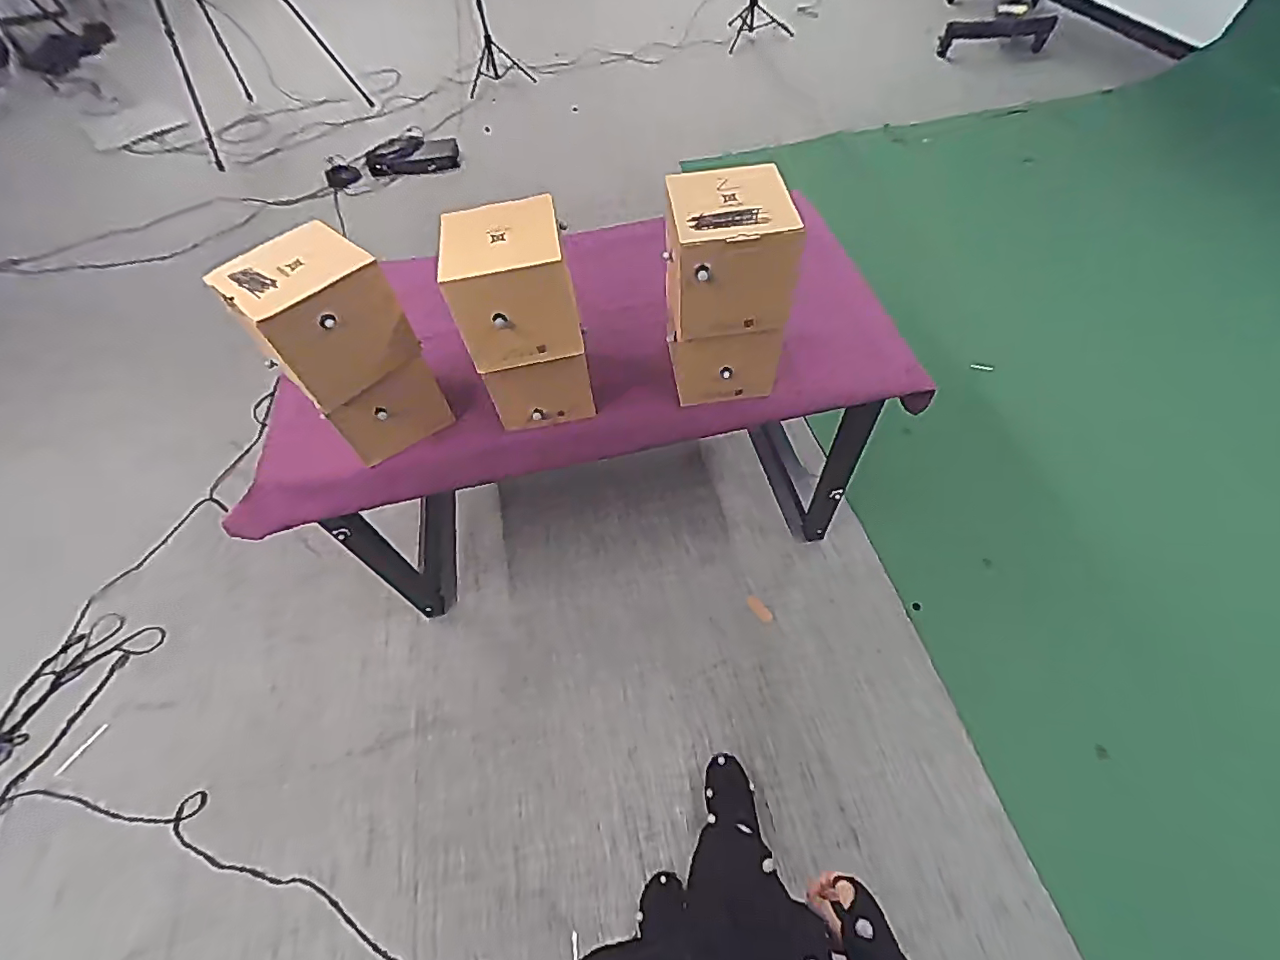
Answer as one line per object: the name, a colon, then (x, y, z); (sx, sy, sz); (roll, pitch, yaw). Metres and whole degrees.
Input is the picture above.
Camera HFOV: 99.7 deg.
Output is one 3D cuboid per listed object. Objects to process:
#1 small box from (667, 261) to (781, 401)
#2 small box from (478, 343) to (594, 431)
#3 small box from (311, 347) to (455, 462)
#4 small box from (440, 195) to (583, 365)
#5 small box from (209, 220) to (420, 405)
small box: (0.141, -0.256, 0.961); (0.168, 0.176, 0.179); (-6, 56, -1)
small box: (-0.180, -0.213, 0.958); (0.168, 0.176, 0.179); (-11, 55, -2)
small box: (-0.456, -0.163, 0.943); (0.179, 0.176, 0.168); (-32, 60, -17)
small box: (-0.187, -0.291, 0.815); (0.168, 0.176, 0.179); (-11, 54, -2)
small box: (-0.465, -0.243, 0.798); (0.168, 0.176, 0.179); (36, 64, 25)
